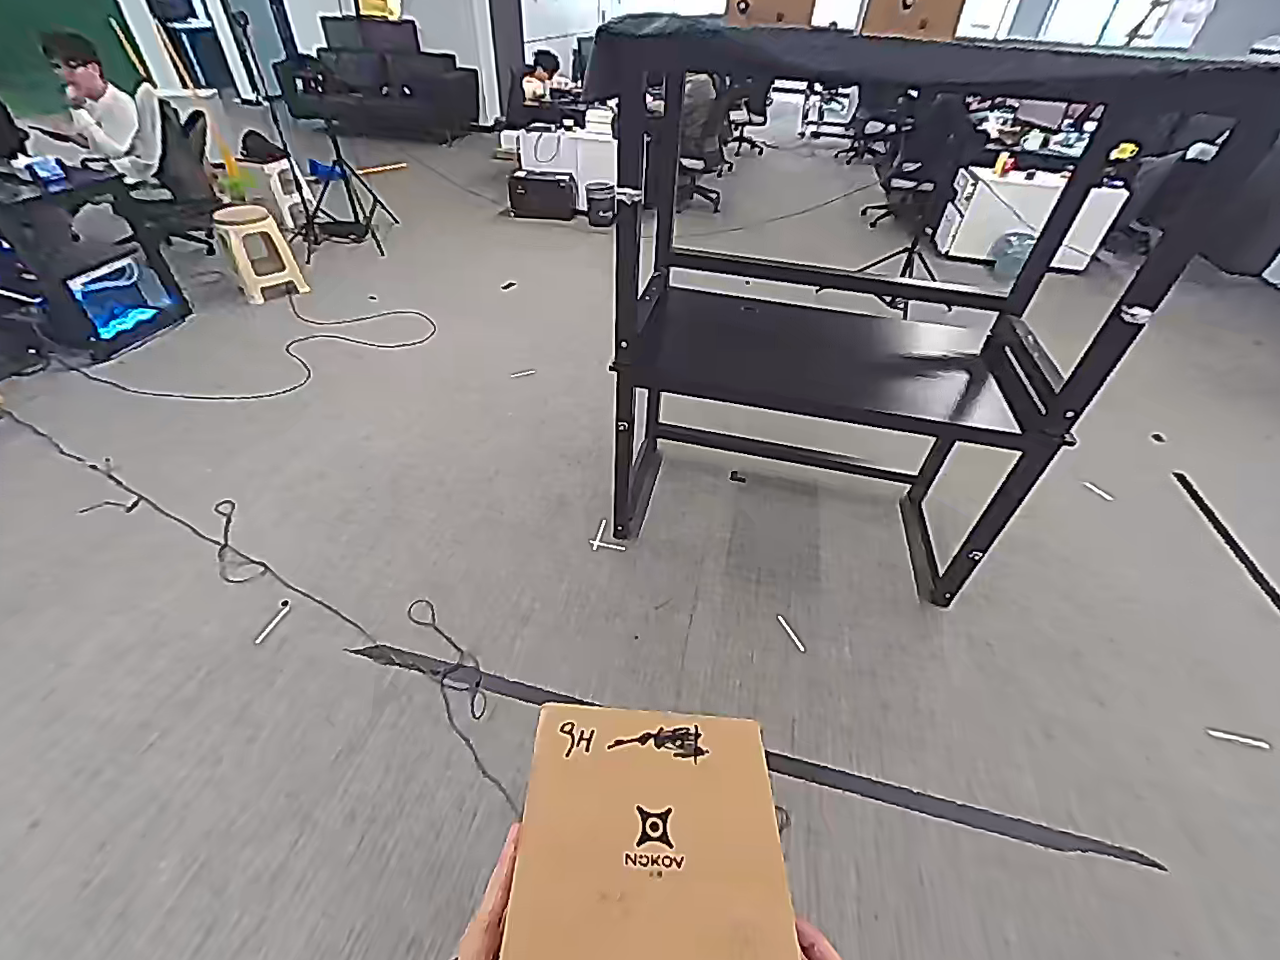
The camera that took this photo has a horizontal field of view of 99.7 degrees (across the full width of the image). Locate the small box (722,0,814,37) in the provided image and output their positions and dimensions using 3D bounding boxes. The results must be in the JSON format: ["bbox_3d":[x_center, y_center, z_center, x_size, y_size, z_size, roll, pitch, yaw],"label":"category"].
[{"bbox_3d":[0.253,-0.954,1.027,0.168,0.176,0.179,10,40,5],"label":"small box"}]

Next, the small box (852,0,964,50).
[{"bbox_3d":[0.504,-0.912,1.000,0.168,0.176,0.179,10,41,8],"label":"small box"}]

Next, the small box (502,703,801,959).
[{"bbox_3d":[0.000,0.288,0.383,0.168,0.176,0.179,6,37,-4],"label":"small box"}]
